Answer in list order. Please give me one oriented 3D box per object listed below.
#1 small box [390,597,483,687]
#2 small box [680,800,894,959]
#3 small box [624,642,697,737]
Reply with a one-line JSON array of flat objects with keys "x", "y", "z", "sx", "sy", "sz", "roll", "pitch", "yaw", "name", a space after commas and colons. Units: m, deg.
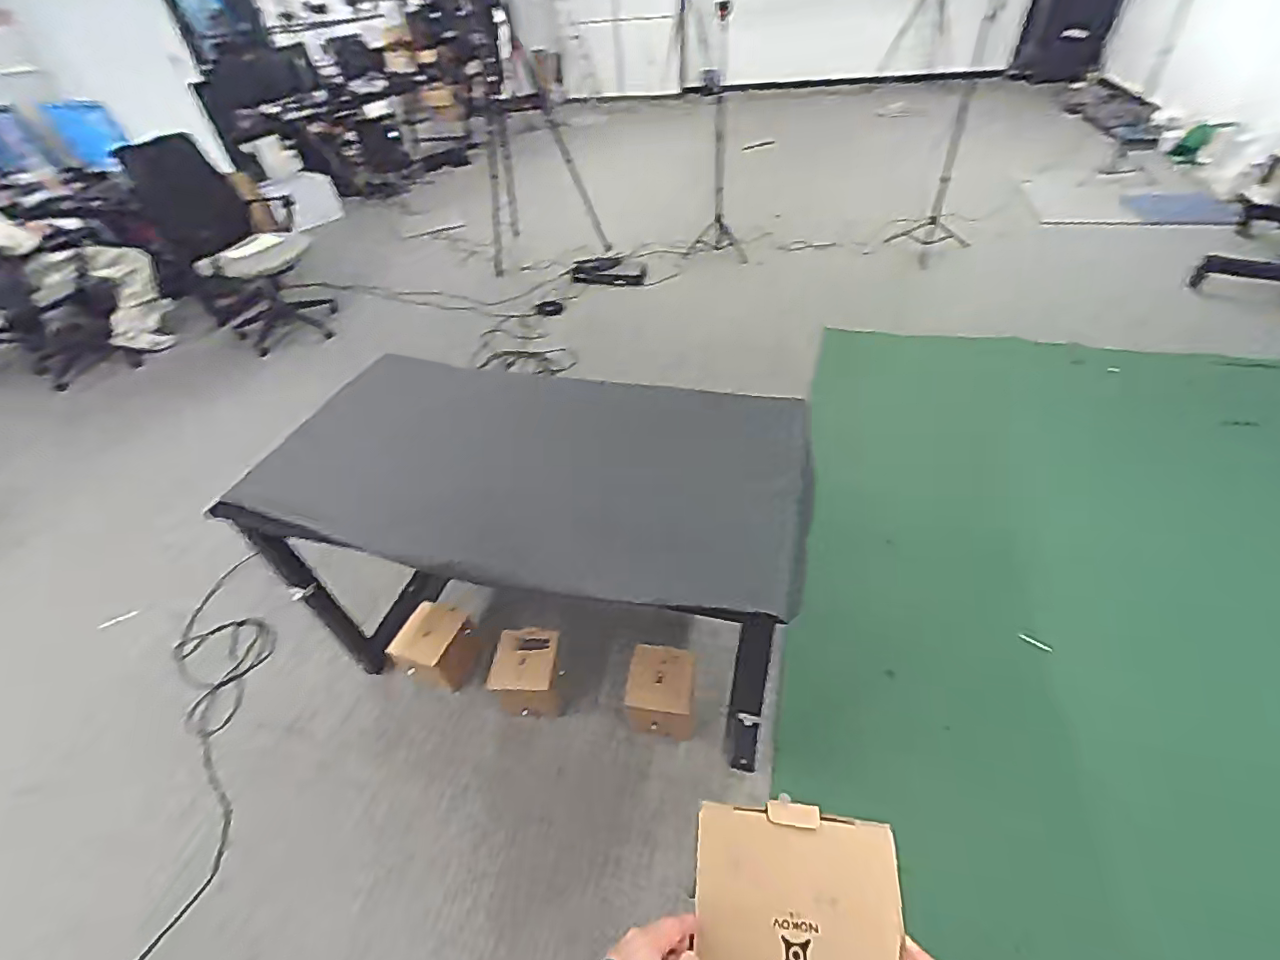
[{"x": -0.594, "y": 0.484, "z": 1.607, "sx": 0.168, "sy": 0.176, "sz": 0.179, "roll": 11, "pitch": 46, "yaw": 18, "name": "small box"}, {"x": 0.122, "y": 0.403, "z": 0.494, "sx": 0.168, "sy": 0.176, "sz": 0.179, "roll": 2, "pitch": 60, "yaw": 9, "name": "small box"}, {"x": 0.062, "y": 0.561, "z": 1.443, "sx": 0.168, "sy": 0.176, "sz": 0.179, "roll": 5, "pitch": 45, "yaw": 11, "name": "small box"}]
